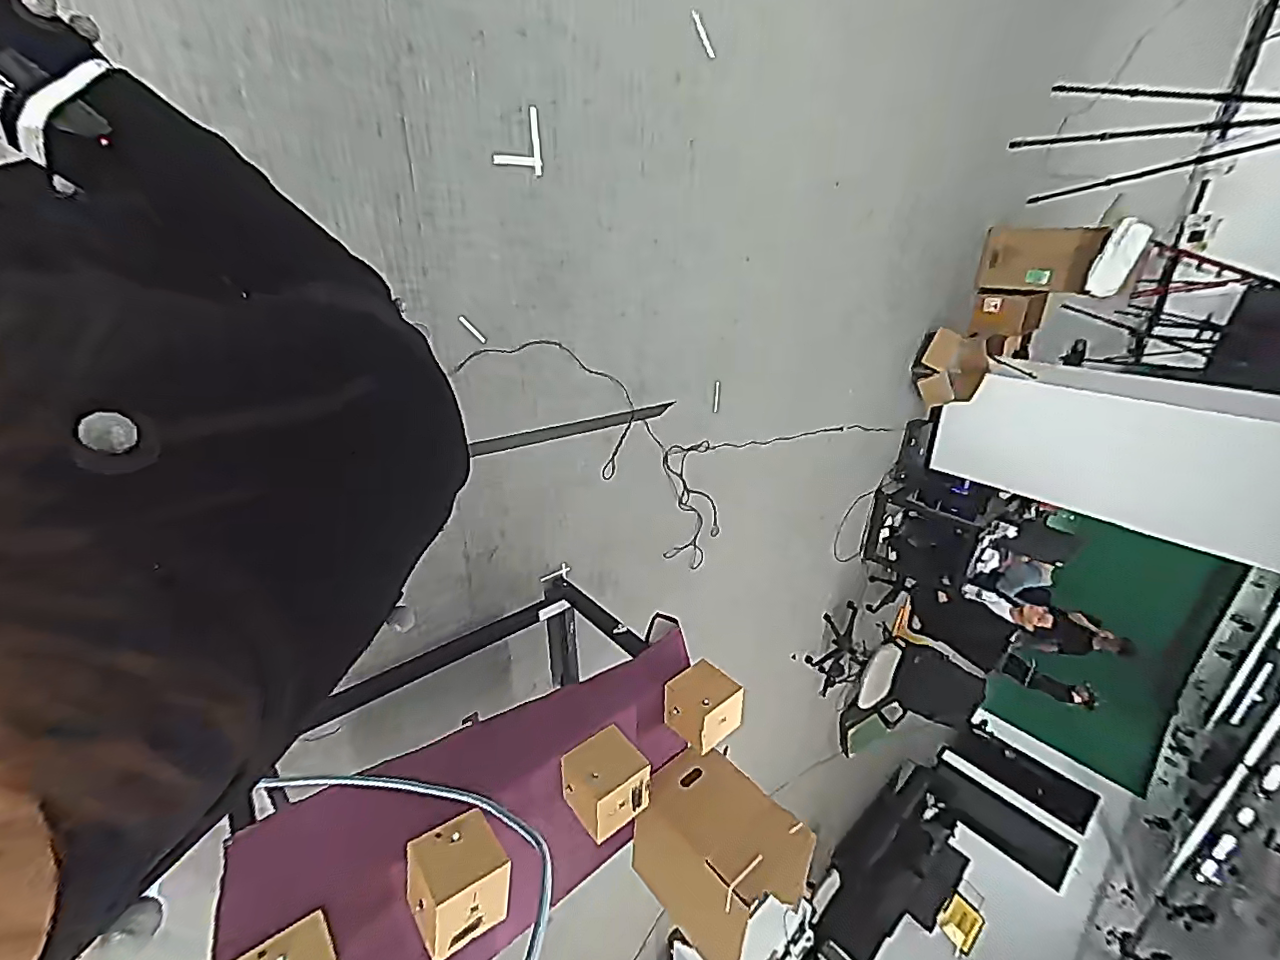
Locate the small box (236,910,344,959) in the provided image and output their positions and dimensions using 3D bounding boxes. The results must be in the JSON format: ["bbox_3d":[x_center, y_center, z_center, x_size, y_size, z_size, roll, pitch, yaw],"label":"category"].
[{"bbox_3d":[-0.650,0.976,1.017,0.168,0.176,0.179,-14,118,-40],"label":"small box"}]

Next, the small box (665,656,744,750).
[{"bbox_3d":[0.199,0.686,1.687,0.179,0.176,0.168,-21,122,-34],"label":"small box"}]
